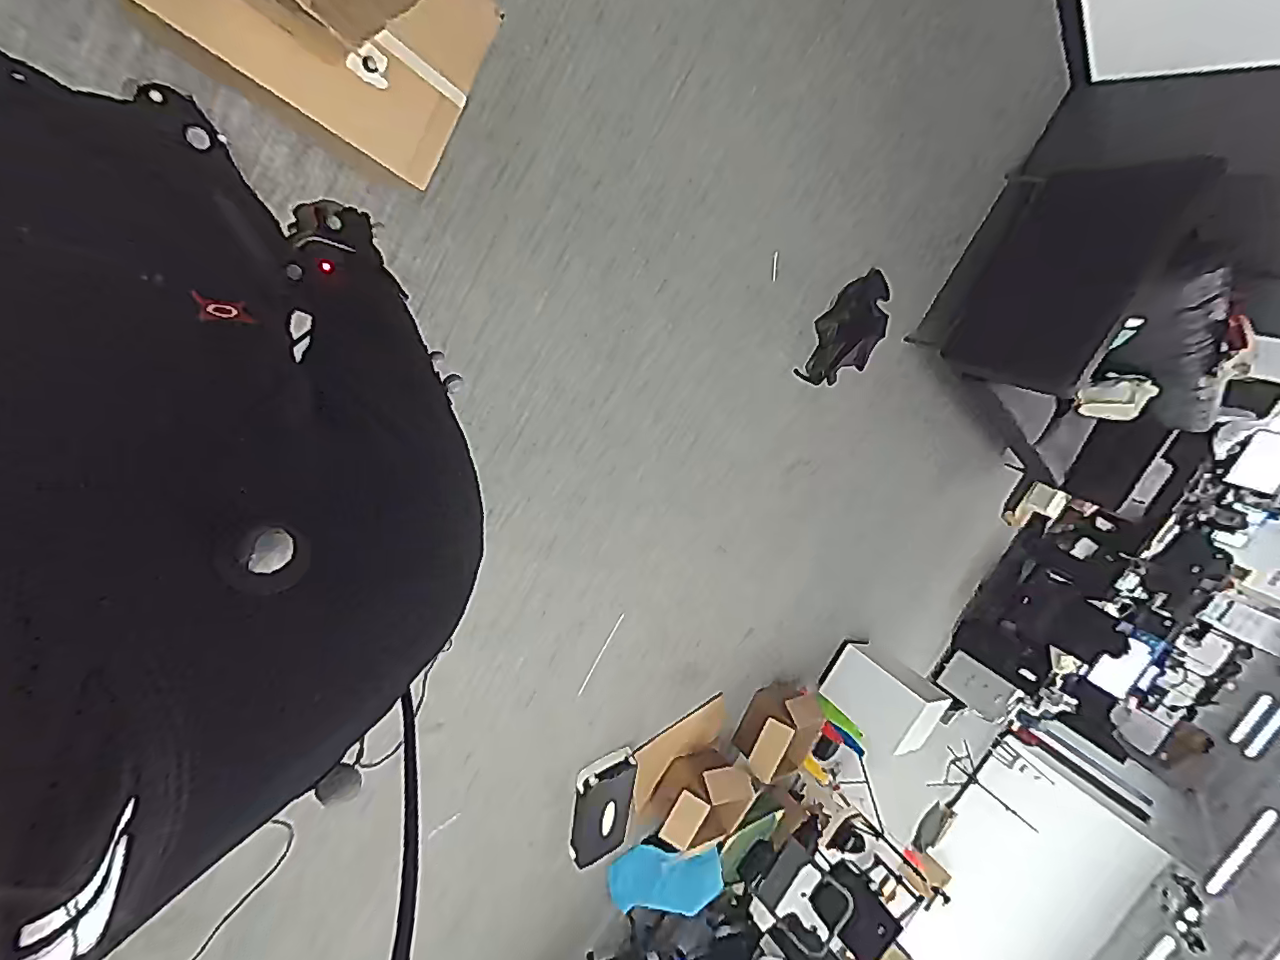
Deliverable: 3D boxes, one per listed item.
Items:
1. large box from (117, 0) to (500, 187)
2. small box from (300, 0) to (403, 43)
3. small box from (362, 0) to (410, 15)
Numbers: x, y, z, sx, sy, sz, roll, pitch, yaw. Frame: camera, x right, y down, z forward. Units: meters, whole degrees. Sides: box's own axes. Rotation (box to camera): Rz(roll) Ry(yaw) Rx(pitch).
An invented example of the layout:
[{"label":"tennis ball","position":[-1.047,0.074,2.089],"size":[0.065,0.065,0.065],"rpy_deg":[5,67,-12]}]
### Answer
[{"label":"large box","position":[-0.511,-0.732,0.850],"size":[0.408,0.320,0.320],"rpy_deg":[20,103,-45]},{"label":"small box","position":[-0.300,-0.585,0.532],"size":[0.168,0.176,0.179],"rpy_deg":[28,96,-45]},{"label":"small box","position":[-0.213,-0.513,0.415],"size":[0.168,0.176,0.179],"rpy_deg":[25,98,-46]}]
